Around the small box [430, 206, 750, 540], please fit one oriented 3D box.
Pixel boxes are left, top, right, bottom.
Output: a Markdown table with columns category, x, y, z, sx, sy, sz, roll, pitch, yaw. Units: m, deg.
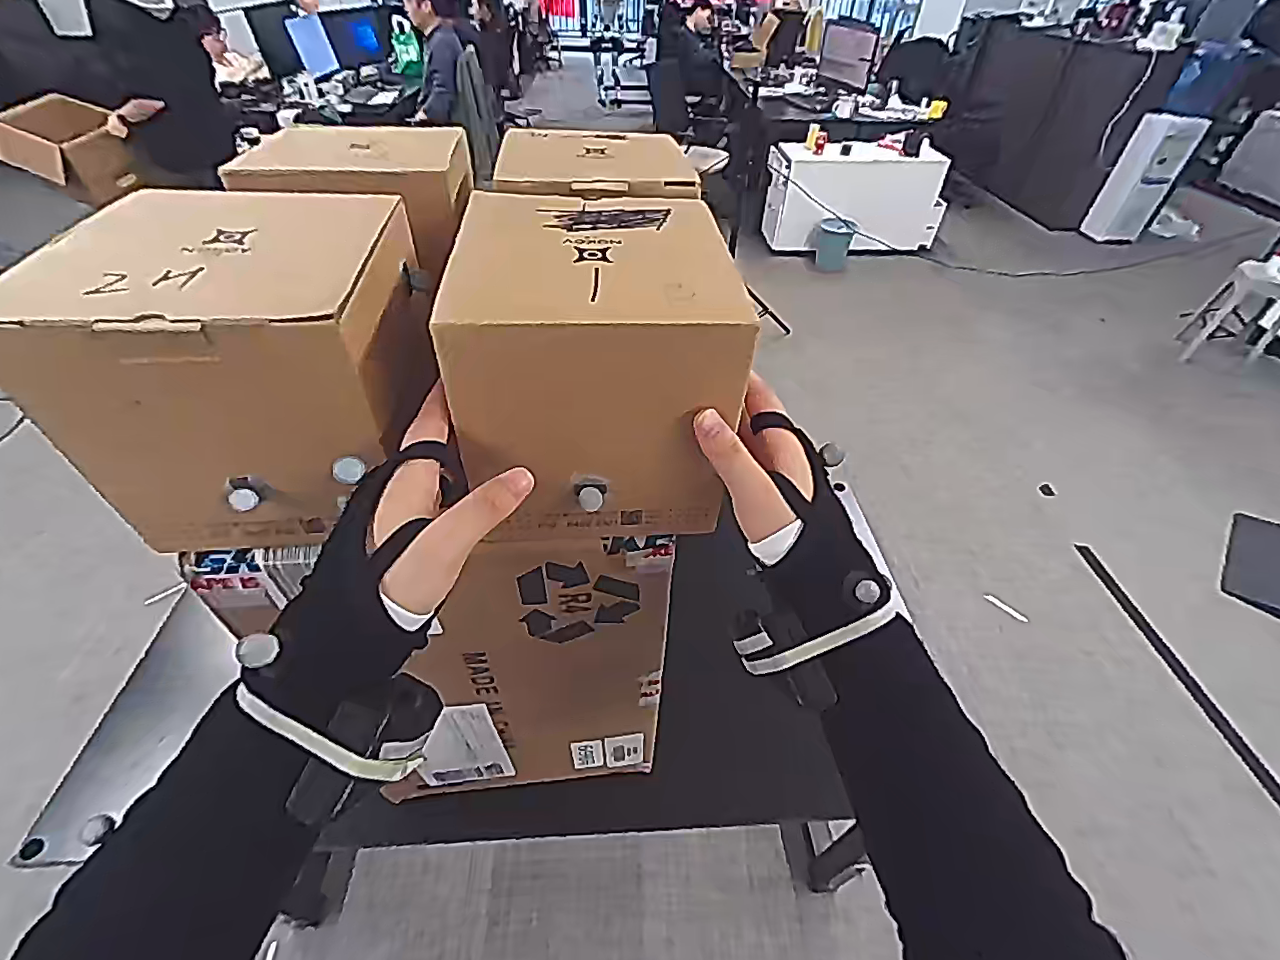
| category | x | y | z | sx | sy | sz | roll | pitch | yaw |
| --- | --- | --- | --- | --- | --- | --- | --- | --- | --- |
| small box | -0.034 | -0.077 | 0.387 | 0.168 | 0.176 | 0.179 | -2 | 45 | -5 |
